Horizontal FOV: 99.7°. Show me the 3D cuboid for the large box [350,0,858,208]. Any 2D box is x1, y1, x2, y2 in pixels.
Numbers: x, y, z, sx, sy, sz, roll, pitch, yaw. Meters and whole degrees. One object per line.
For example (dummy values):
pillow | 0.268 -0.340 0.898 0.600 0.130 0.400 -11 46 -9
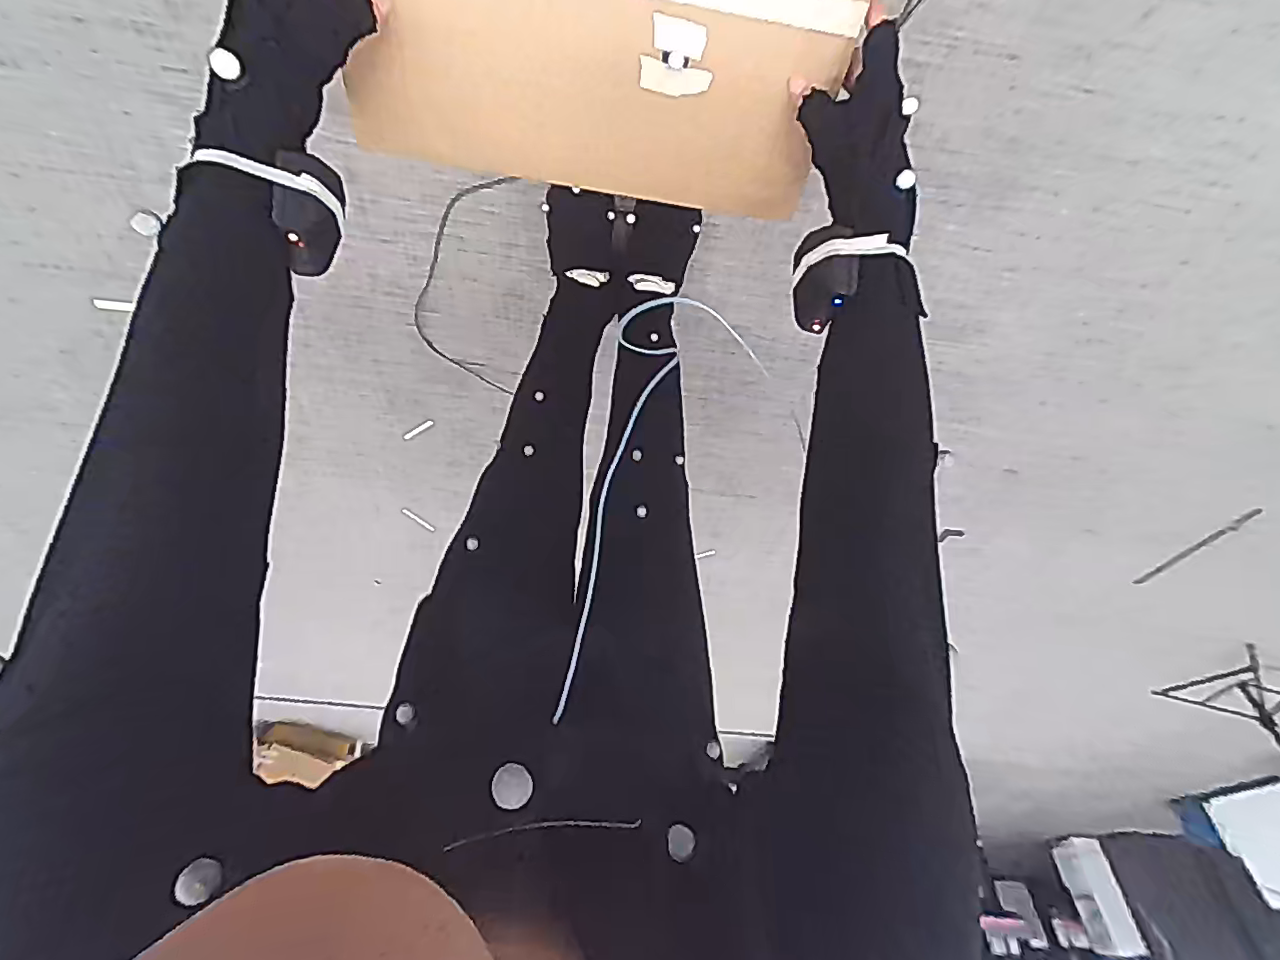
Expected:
large box | -0.026 -0.502 0.509 0.408 0.320 0.320 6 139 -7
